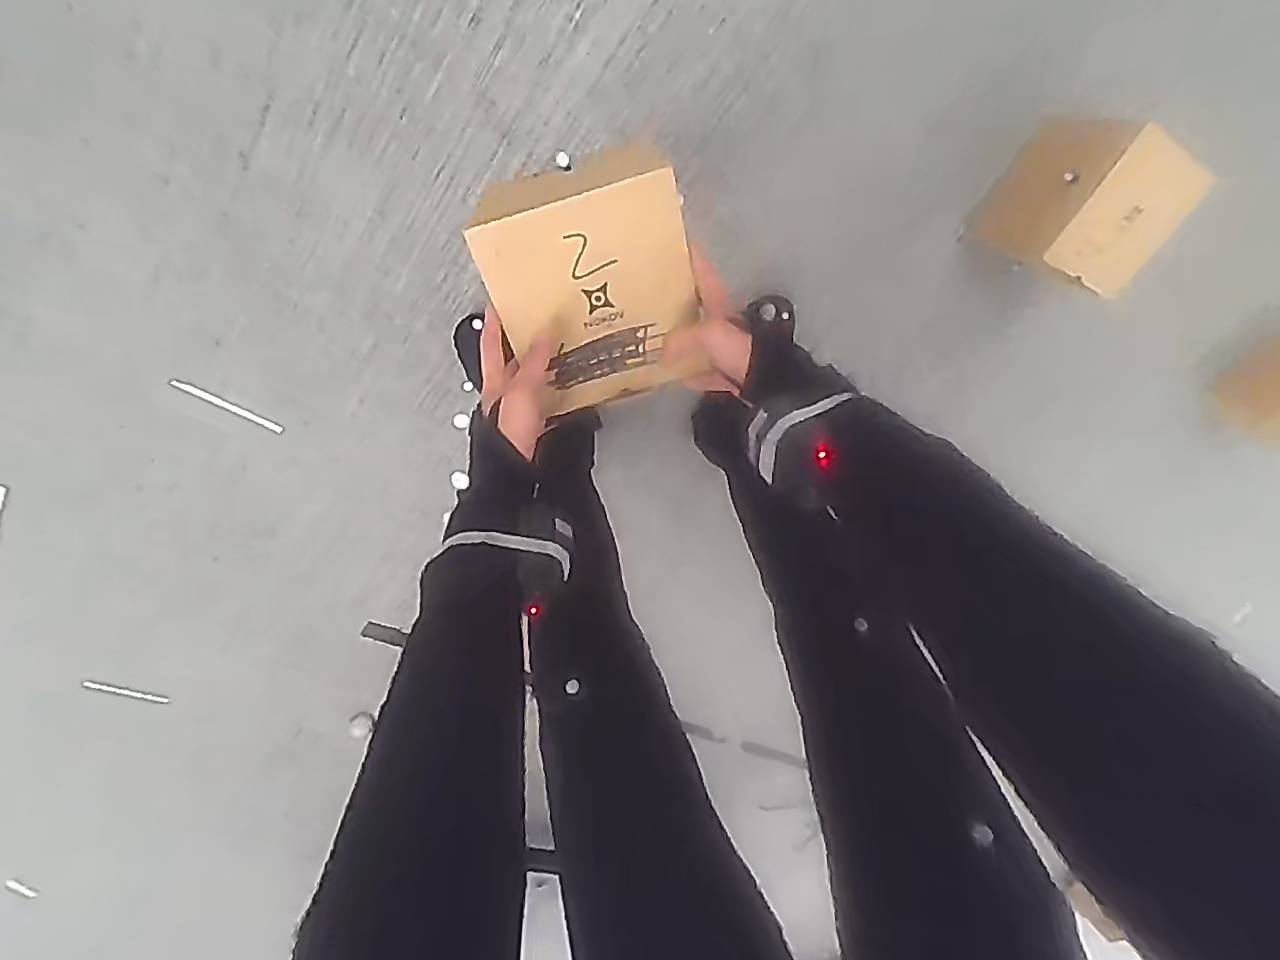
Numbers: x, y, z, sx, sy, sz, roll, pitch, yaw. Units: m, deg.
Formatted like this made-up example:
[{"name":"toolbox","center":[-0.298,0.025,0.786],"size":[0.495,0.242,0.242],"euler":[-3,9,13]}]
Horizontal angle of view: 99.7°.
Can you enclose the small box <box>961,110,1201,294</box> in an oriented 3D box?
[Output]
[{"name":"small box","center":[0.624,-0.408,0.789],"size":[0.168,0.176,0.179],"euler":[16,123,-23]}]
